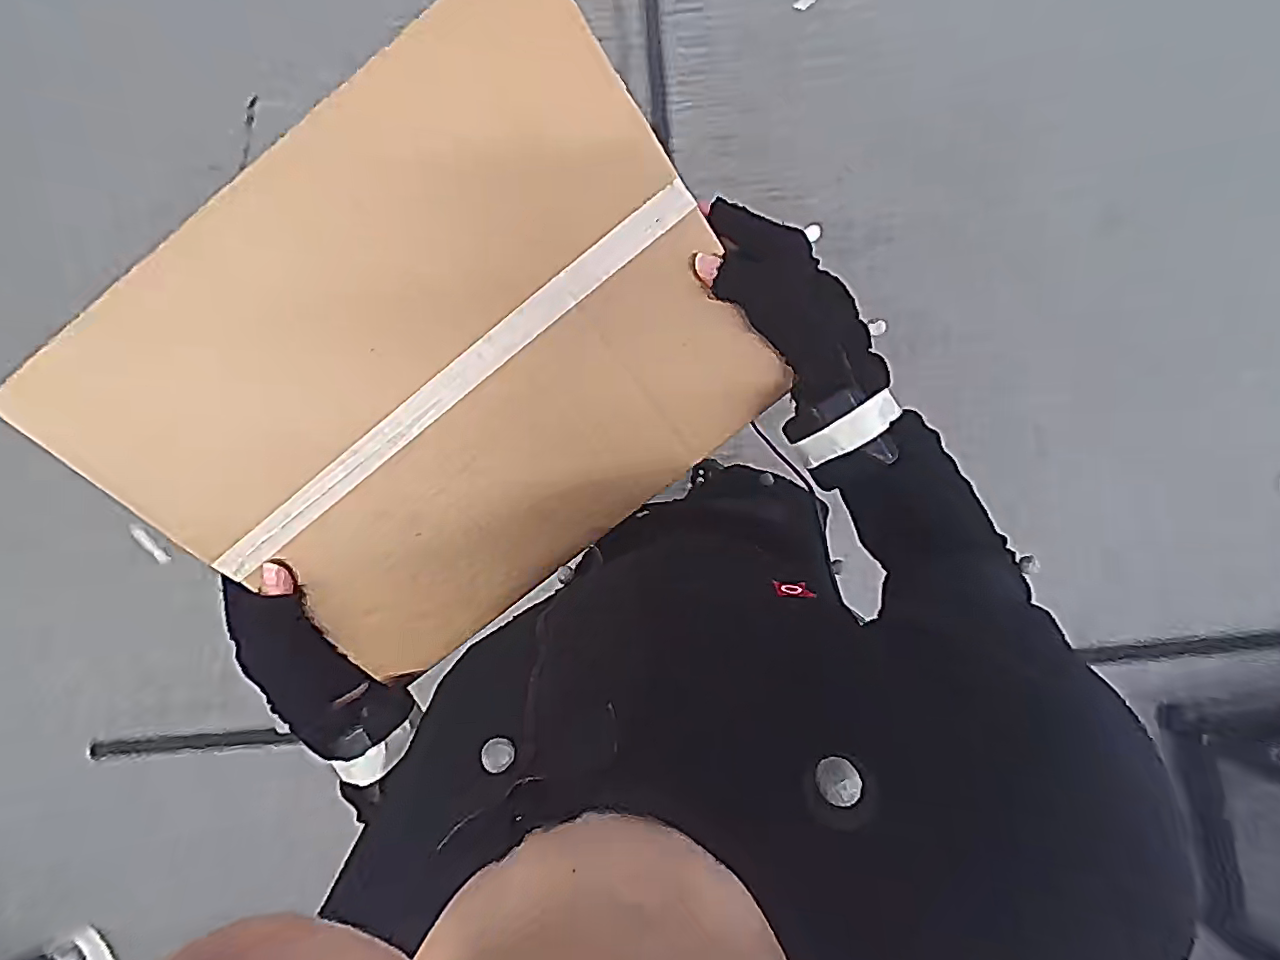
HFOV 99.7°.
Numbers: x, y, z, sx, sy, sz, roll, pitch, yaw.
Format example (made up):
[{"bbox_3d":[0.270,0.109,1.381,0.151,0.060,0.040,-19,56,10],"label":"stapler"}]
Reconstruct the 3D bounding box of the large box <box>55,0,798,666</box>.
[{"bbox_3d":[-0.147,-0.122,0.509,0.408,0.320,0.320,-37,115,4],"label":"large box"}]
